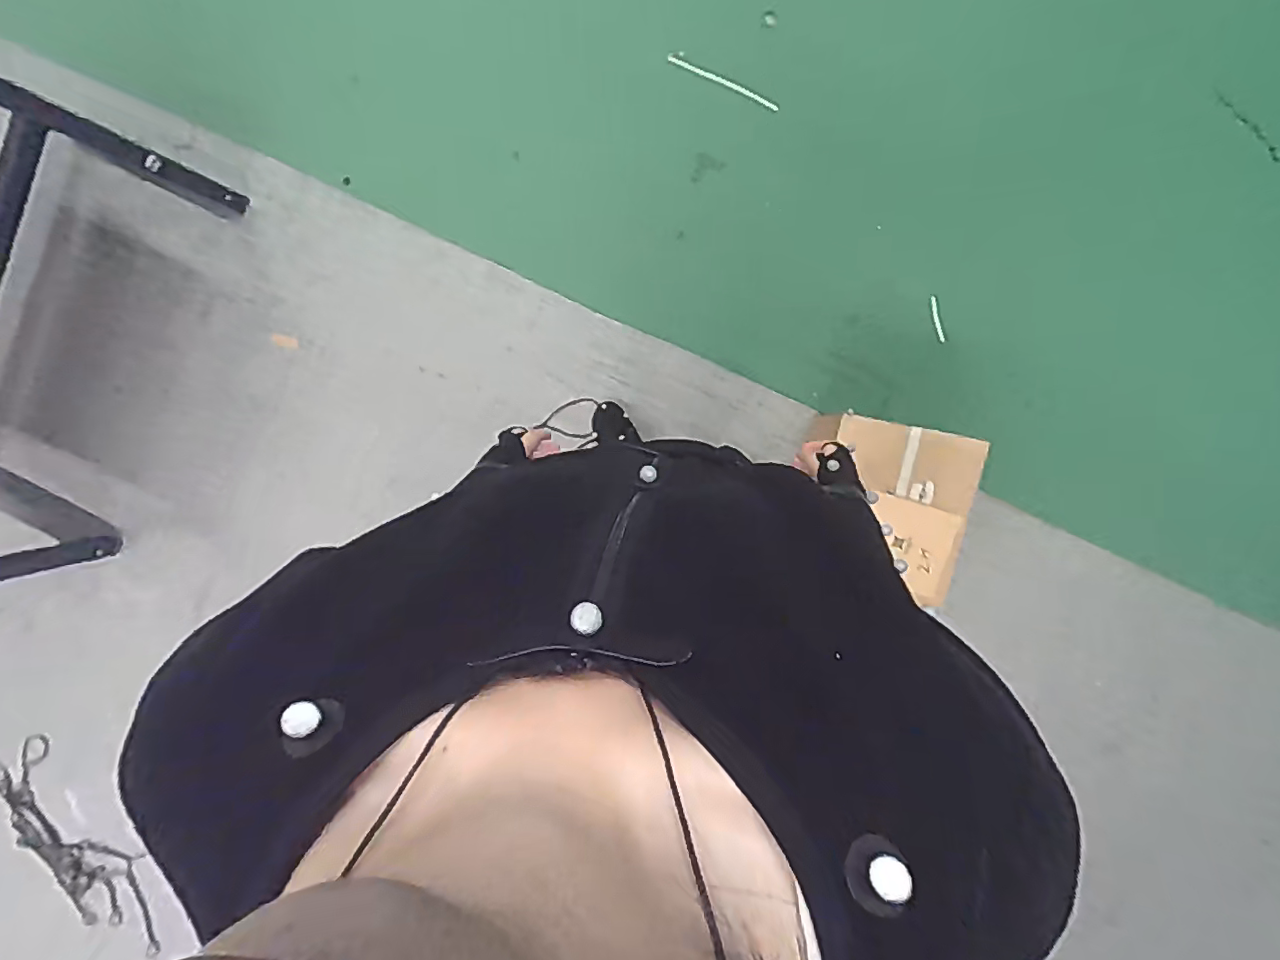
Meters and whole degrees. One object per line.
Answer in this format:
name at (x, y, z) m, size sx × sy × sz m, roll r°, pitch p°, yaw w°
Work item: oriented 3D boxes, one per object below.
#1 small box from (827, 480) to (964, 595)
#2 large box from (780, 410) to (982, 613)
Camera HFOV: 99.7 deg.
small box at (0.494, 0.104, 1.079) m, size 0.179 × 0.176 × 0.168 m, roll 18°, pitch 99°, yaw 4°
large box at (0.553, 0.059, 1.319) m, size 0.320 × 0.320 × 0.408 m, roll 12°, pitch 96°, yaw 3°
